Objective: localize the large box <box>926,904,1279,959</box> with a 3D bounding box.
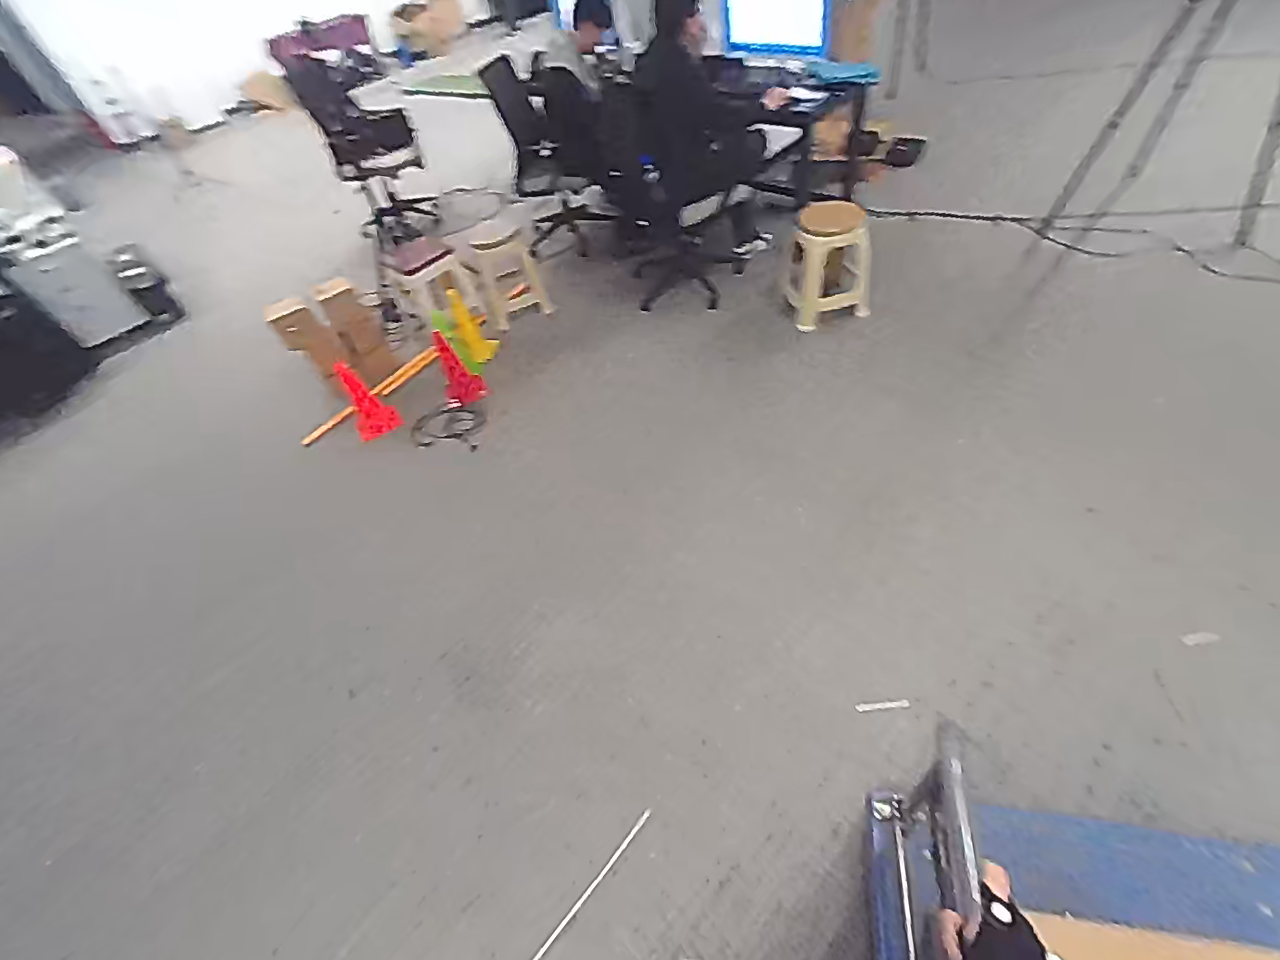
[{"bbox_3d":[0.718,0.880,0.825,0.408,0.320,0.320,1,50,11],"label":"large box"}]
